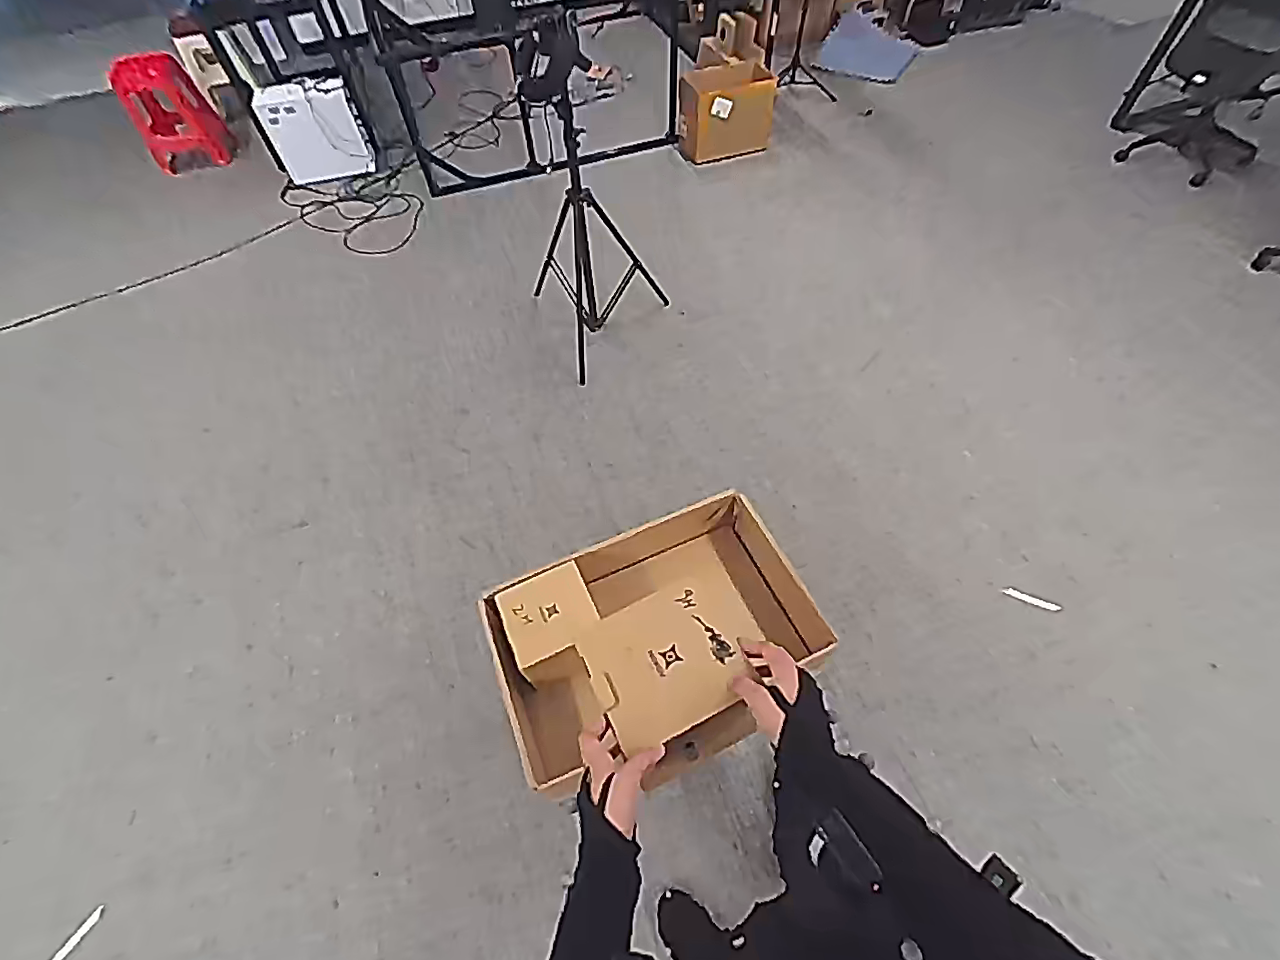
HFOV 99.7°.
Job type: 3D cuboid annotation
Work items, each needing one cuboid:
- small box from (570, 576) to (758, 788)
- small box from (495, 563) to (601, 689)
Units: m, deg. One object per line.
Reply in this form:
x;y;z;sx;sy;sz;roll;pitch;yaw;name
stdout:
0.035;0.262;0.693;0.179;0.176;0.168;-25;51;-11;small box
-0.174;0.304;1.114;0.179;0.176;0.168;-23;58;-11;small box
